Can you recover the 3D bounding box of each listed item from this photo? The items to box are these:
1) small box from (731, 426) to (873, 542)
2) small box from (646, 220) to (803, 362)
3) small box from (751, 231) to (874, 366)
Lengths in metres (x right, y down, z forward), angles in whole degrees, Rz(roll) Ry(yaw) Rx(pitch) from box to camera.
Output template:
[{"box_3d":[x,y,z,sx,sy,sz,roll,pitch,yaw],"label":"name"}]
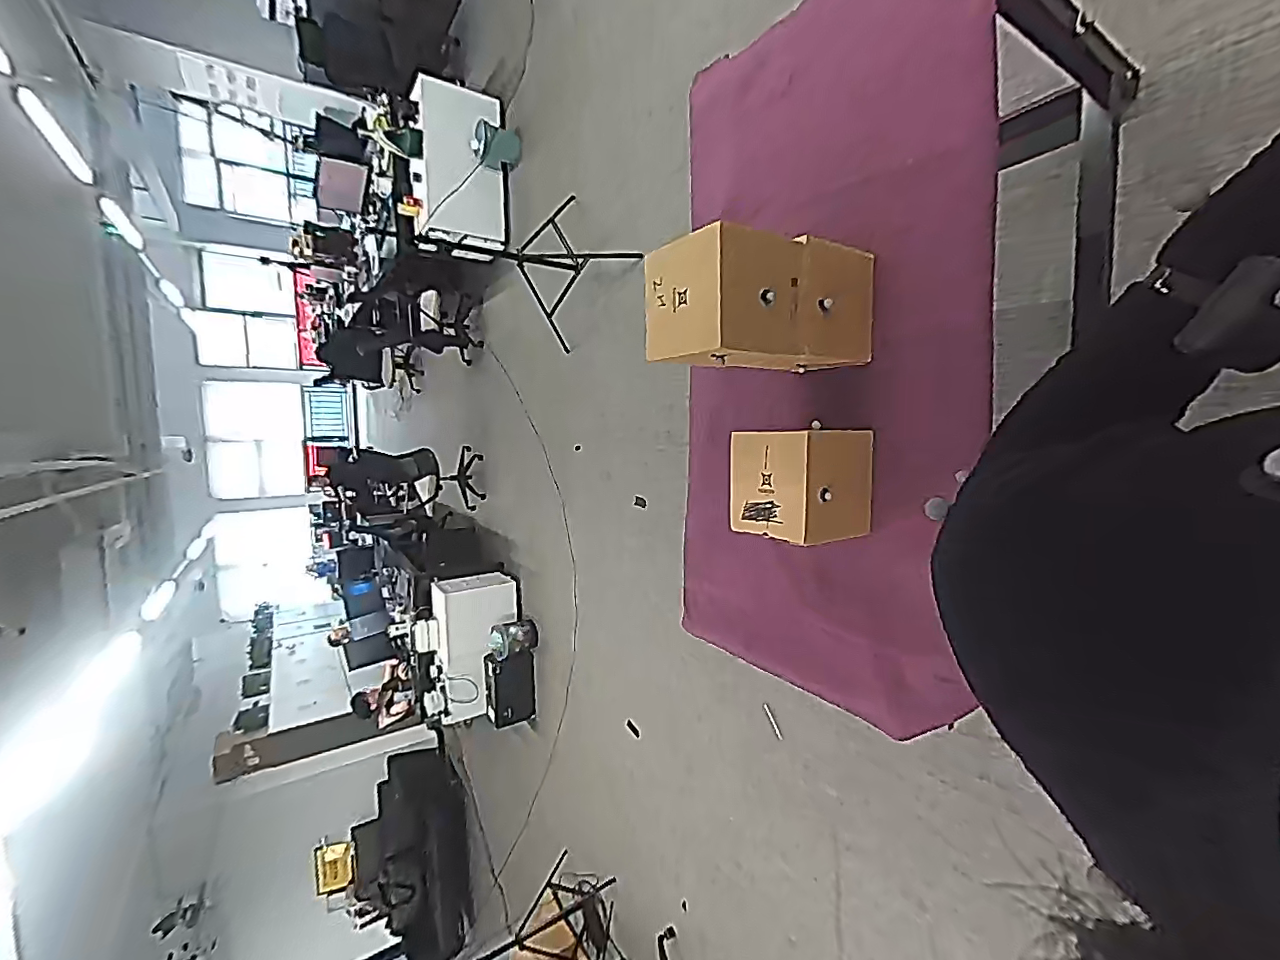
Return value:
[{"box_3d":[0.274,-0.003,0.920,0.168,0.176,0.179,8,99,56],"label":"small box"},{"box_3d":[0.126,-0.271,0.817,0.179,0.176,0.168,9,101,56],"label":"small box"},{"box_3d":[0.268,-0.288,0.899,0.168,0.176,0.179,9,102,56],"label":"small box"}]
